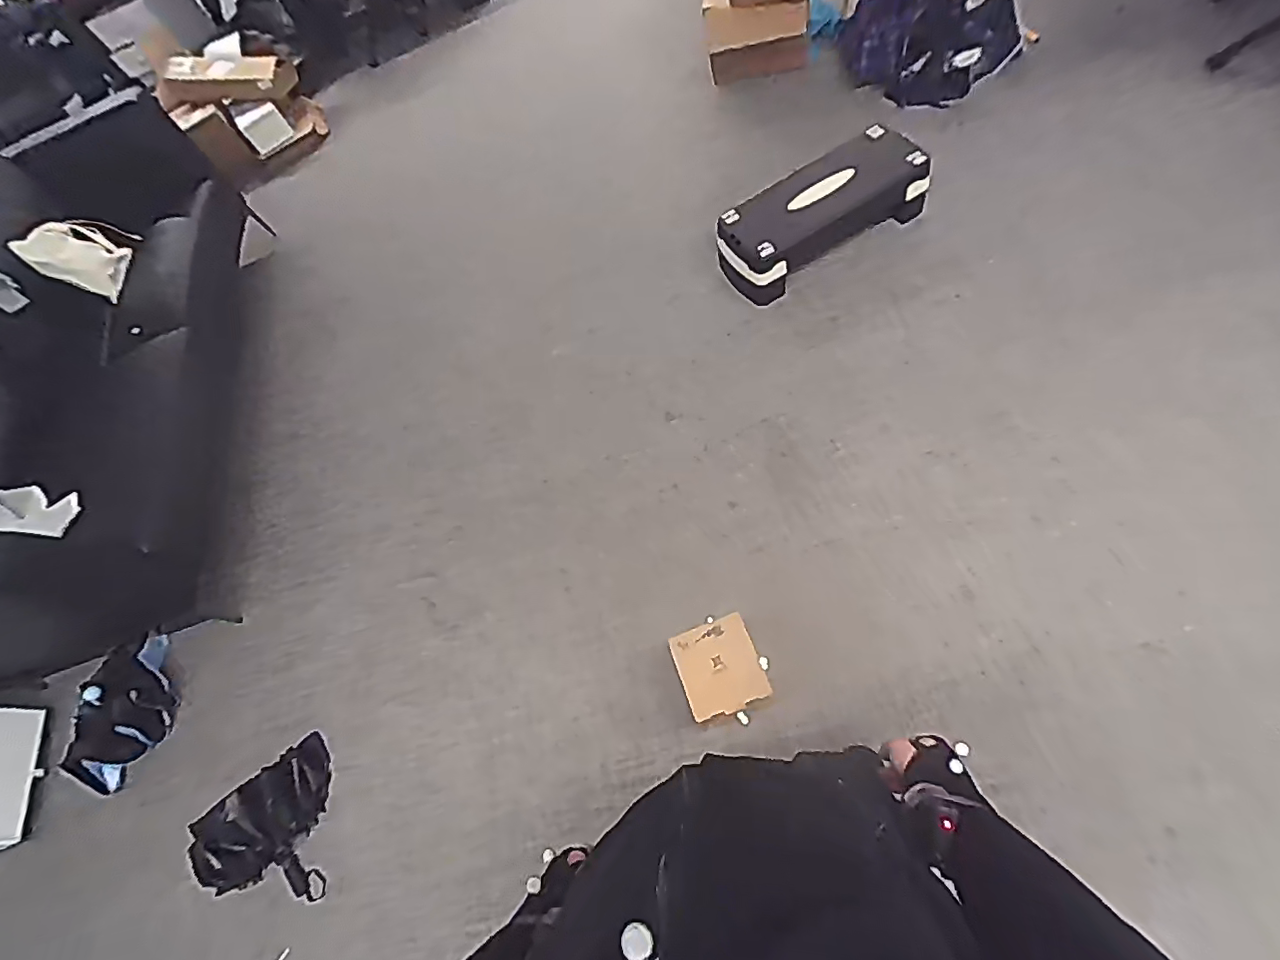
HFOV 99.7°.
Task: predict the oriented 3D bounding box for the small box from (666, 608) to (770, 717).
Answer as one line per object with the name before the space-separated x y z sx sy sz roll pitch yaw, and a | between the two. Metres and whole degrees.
small box | 0.175 0.401 1.177 0.168 0.176 0.179 -23 62 5

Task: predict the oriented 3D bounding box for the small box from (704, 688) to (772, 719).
small box | 0.211 0.469 1.320 0.168 0.176 0.179 -24 63 4
